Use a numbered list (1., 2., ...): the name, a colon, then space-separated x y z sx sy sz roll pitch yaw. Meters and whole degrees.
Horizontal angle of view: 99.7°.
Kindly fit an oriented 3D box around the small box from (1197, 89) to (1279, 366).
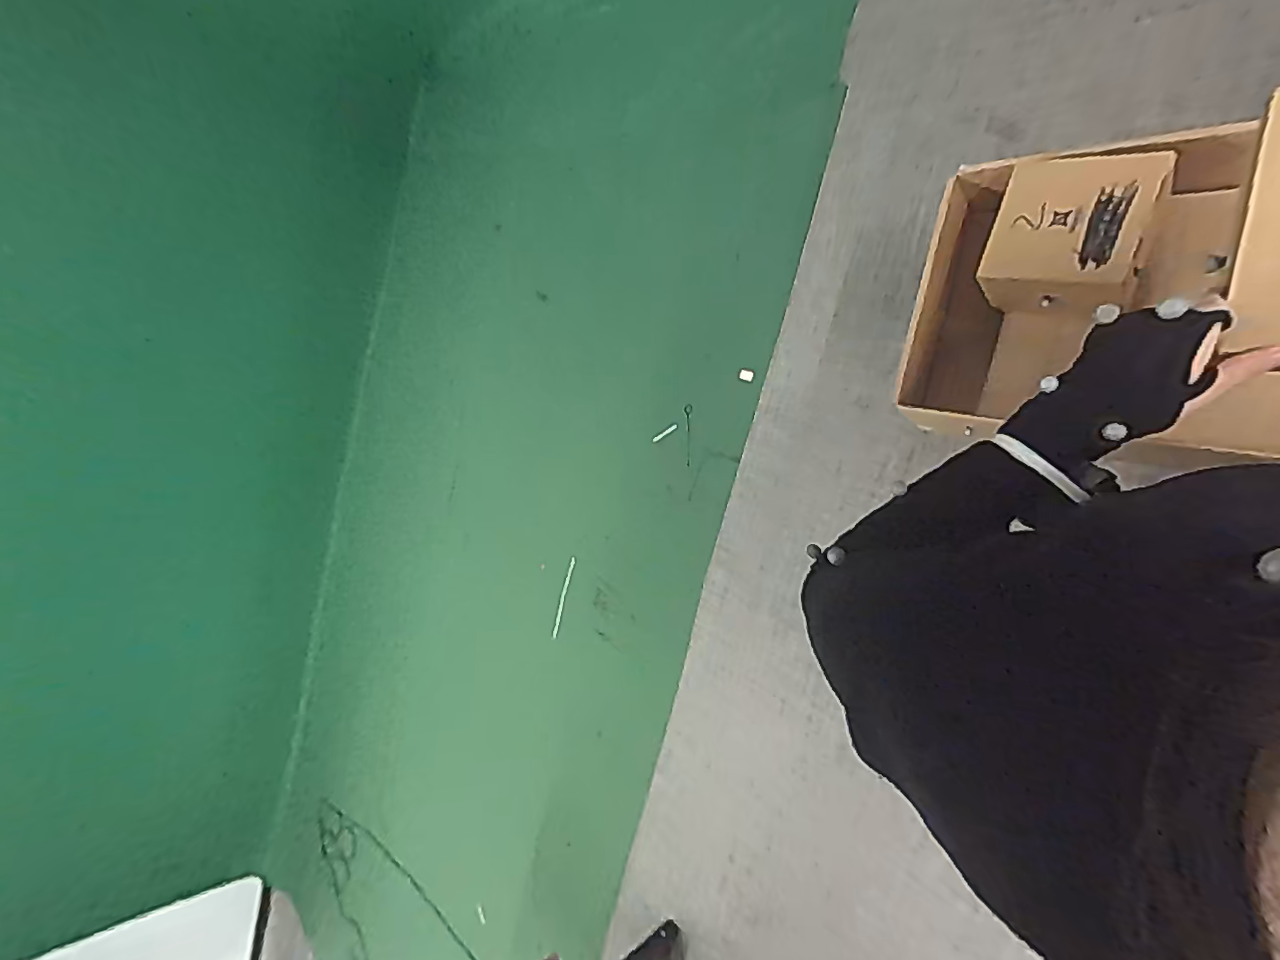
1. small box: 0.528 -0.170 0.381 0.168 0.176 0.179 12 104 41
